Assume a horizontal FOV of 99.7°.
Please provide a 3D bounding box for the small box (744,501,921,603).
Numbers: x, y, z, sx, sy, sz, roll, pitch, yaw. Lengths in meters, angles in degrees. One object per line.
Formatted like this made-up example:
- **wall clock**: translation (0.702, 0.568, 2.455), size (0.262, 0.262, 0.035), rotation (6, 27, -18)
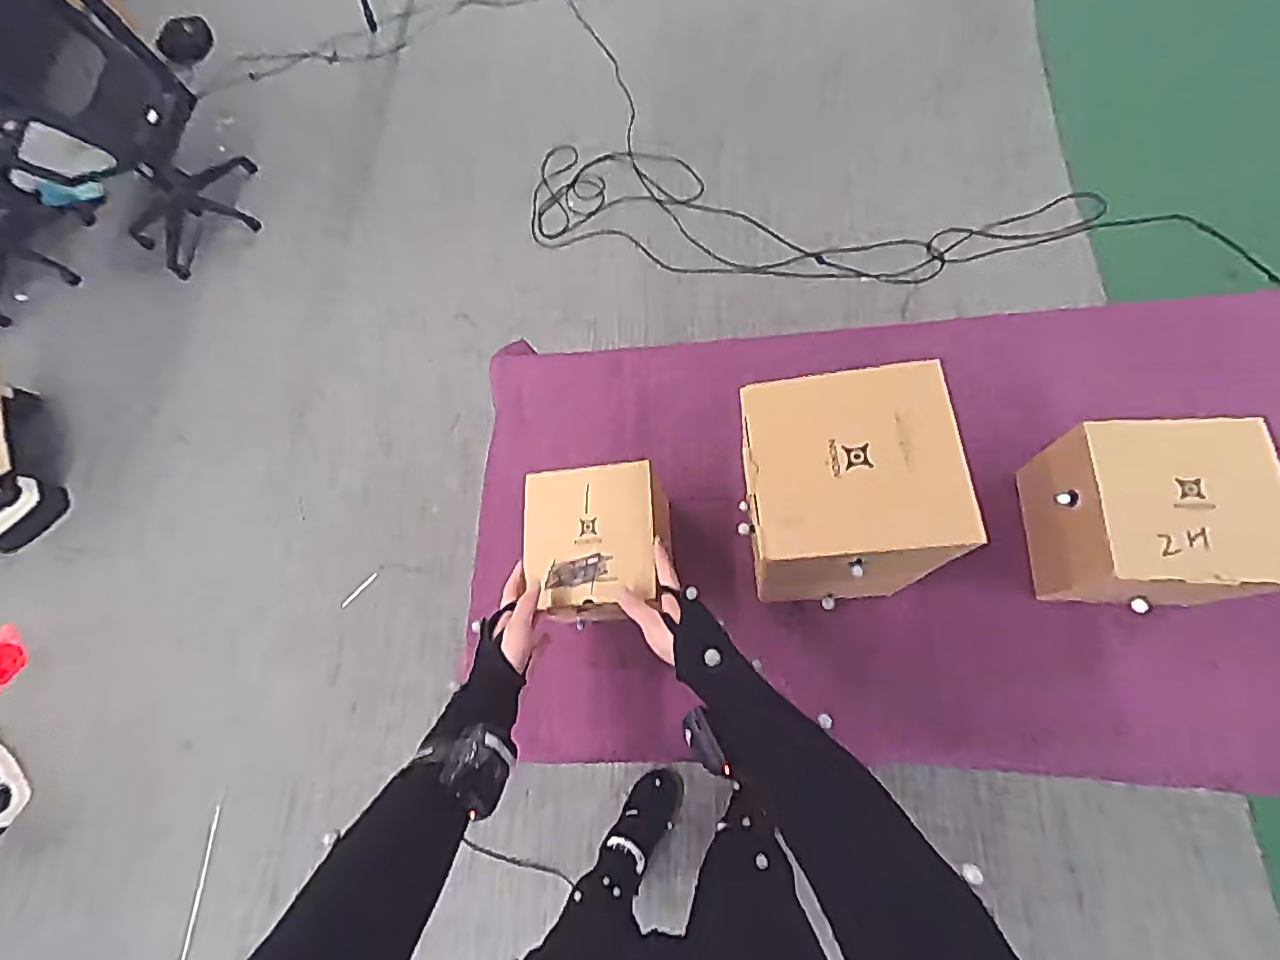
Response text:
- **small box**: translation (0.228, 0.061, 0.689), size (0.179, 0.176, 0.168), rotation (-6, 69, 10)

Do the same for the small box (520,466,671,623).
- **small box**: translation (-0.052, 0.097, 0.733), size (0.168, 0.176, 0.179), rotation (-6, 68, 9)

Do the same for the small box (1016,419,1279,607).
- **small box**: translation (0.567, 0.044, 0.623), size (0.168, 0.176, 0.179), rotation (0, 71, 12)

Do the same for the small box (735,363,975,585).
- **small box**: translation (0.193, 0.008, 0.538), size (0.179, 0.176, 0.168), rotation (-6, 71, 10)
